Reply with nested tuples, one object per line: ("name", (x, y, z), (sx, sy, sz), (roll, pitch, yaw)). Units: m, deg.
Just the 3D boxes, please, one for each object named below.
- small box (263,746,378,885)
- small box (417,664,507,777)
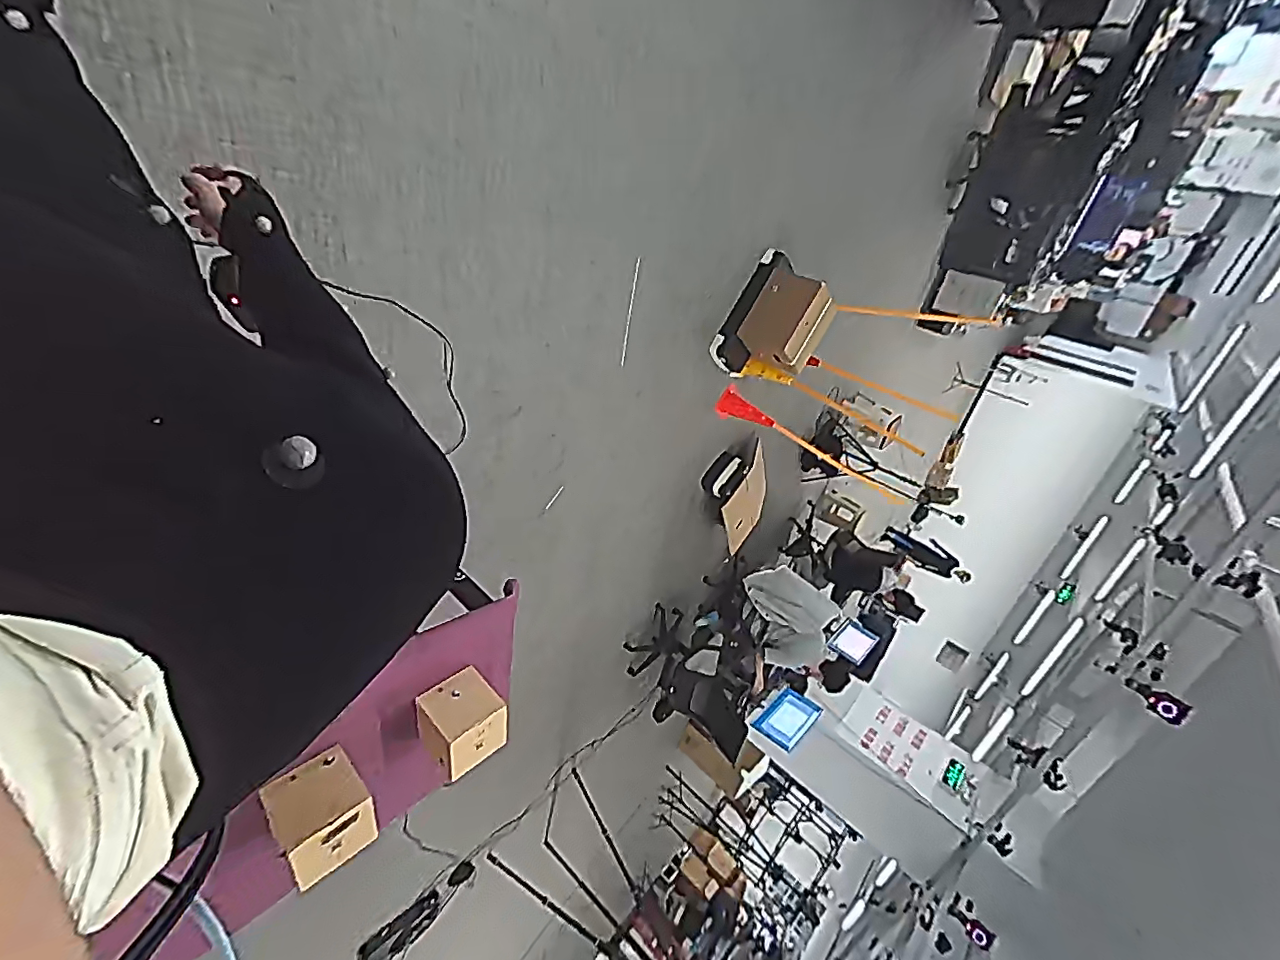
("small box", (-0.707, 0.731, 1.201), (0.168, 0.176, 0.179), (-22, 135, -43))
("small box", (-0.472, 0.631, 1.435), (0.168, 0.176, 0.179), (-24, 135, -42))
